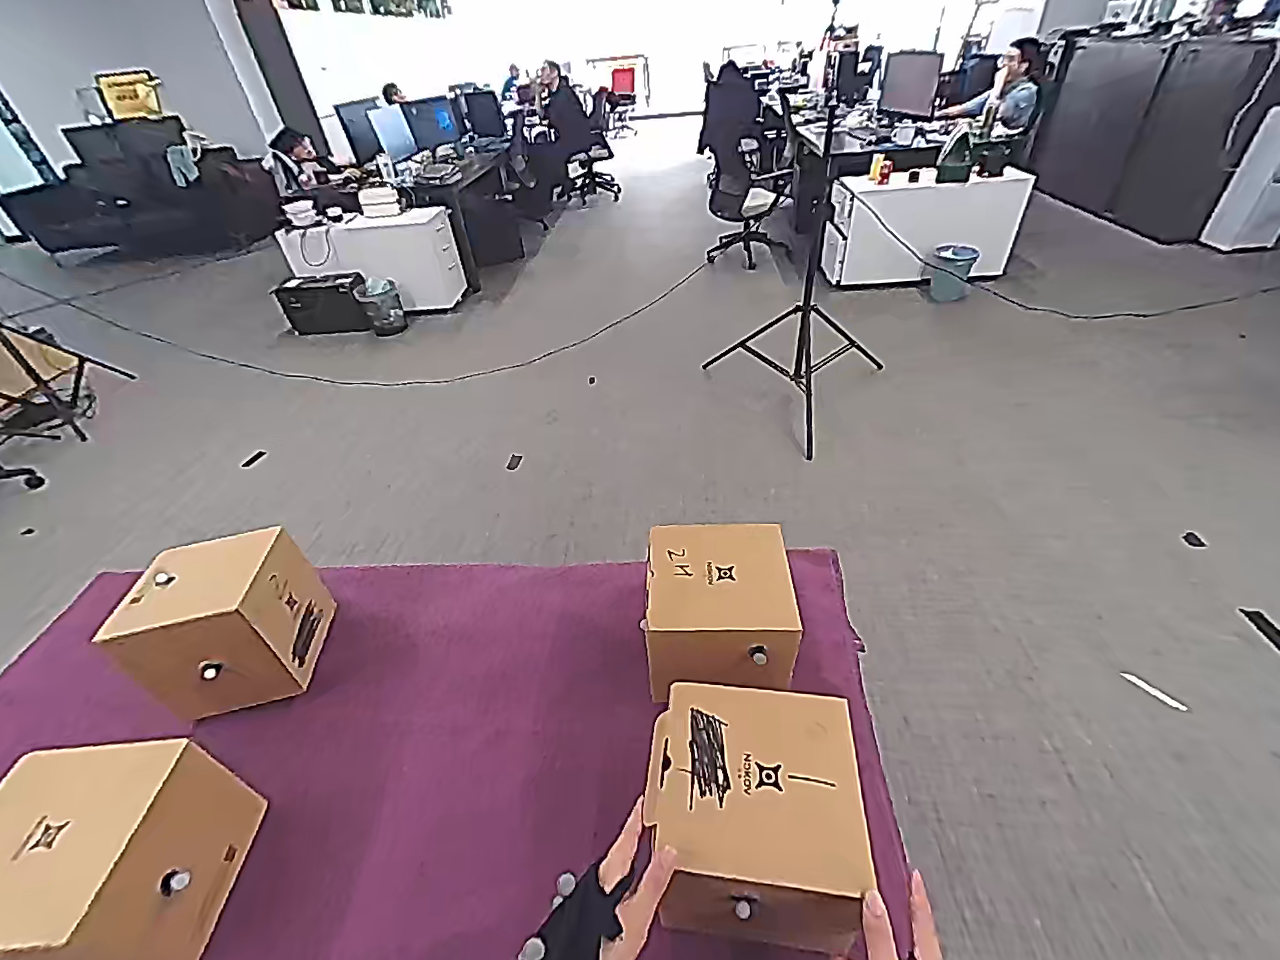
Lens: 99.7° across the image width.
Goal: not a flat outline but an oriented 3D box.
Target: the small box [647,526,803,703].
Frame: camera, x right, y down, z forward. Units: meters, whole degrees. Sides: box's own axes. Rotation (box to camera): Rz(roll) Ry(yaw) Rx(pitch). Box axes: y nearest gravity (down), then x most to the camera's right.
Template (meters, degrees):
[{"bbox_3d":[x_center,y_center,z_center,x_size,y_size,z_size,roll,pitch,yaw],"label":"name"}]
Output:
[{"bbox_3d":[0.102,0.178,0.710,0.179,0.176,0.168,-2,40,5],"label":"small box"}]

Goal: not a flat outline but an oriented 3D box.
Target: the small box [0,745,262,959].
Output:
[{"bbox_3d":[-0.530,0.389,0.537,0.179,0.176,0.168,-6,38,0],"label":"small box"}]

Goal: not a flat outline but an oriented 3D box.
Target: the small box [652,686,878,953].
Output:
[{"bbox_3d":[0.113,0.326,0.527,0.179,0.176,0.168,2,38,9],"label":"small box"}]
